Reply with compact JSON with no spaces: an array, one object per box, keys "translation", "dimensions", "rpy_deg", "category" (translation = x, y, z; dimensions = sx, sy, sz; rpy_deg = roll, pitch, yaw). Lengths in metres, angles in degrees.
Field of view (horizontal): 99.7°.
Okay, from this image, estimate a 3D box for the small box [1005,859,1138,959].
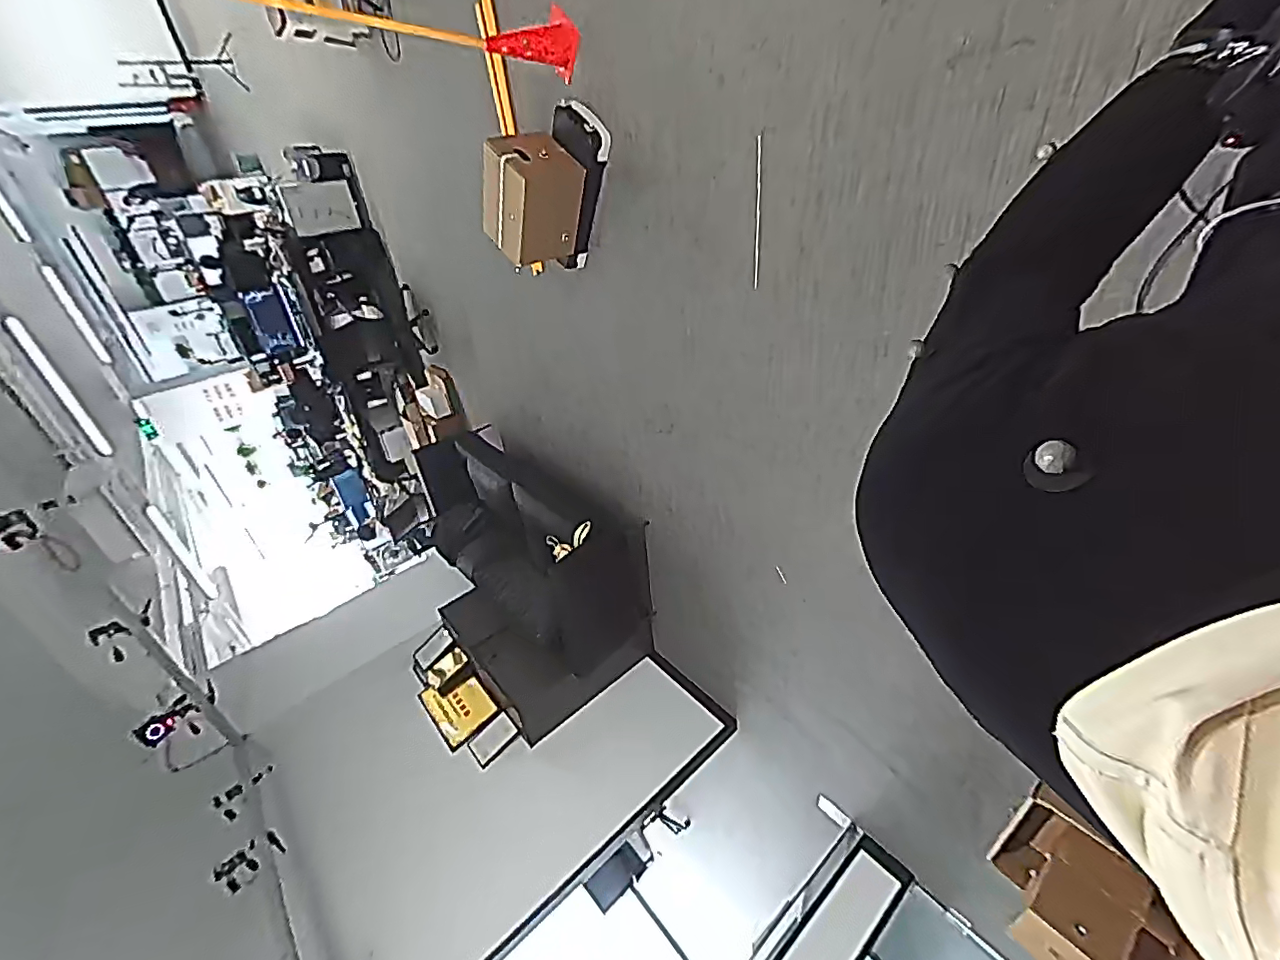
[{"translation":[1.008,1.048,1.264],"dimensions":[0.179,0.176,0.168],"rpy_deg":[33,138,39],"category":"small box"}]
